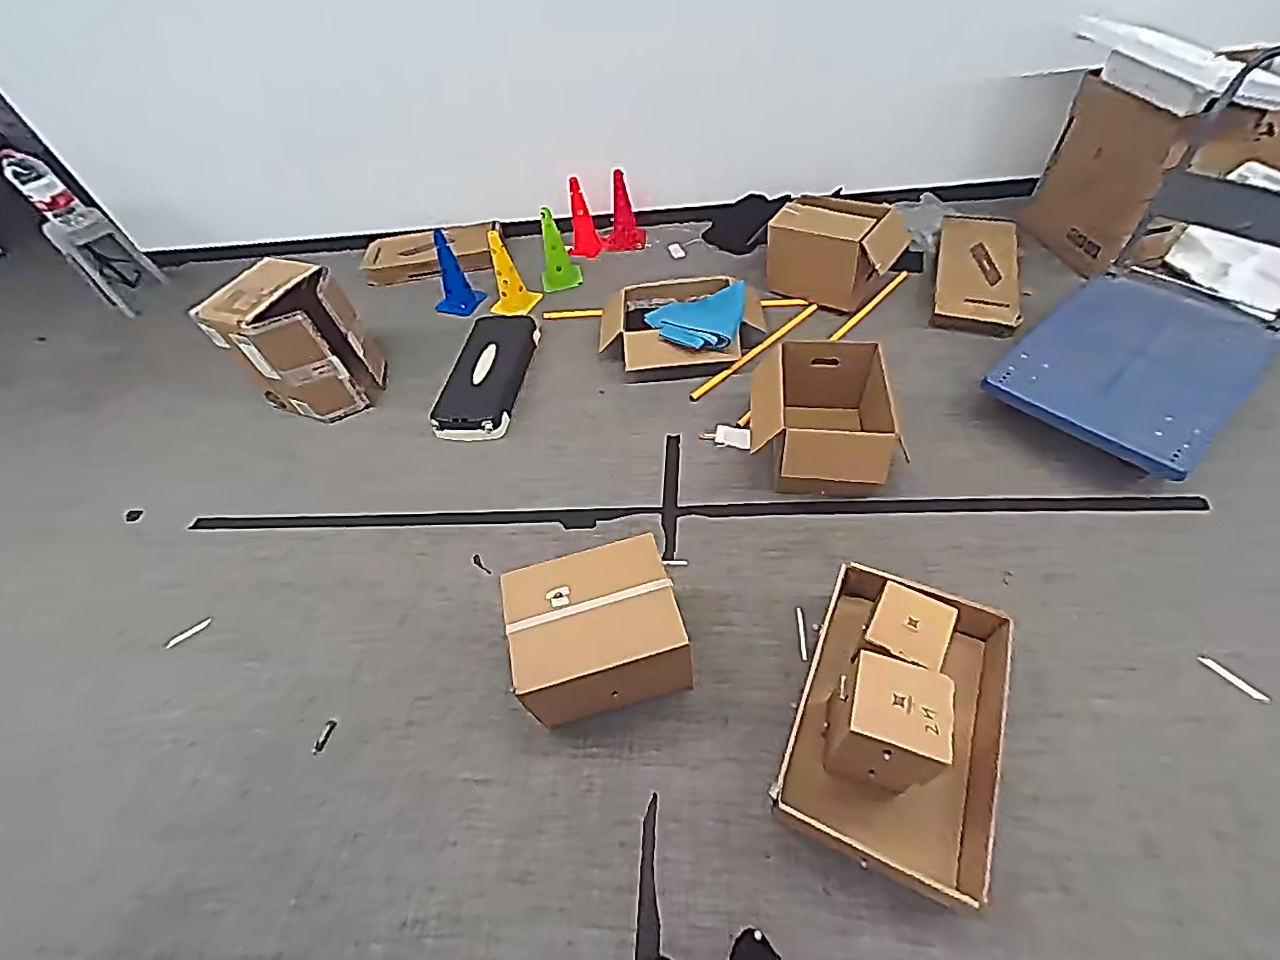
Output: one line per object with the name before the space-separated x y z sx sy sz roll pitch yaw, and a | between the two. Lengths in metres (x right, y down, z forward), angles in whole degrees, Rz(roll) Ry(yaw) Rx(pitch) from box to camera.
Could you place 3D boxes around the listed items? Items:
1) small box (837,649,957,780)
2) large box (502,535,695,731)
small box | 0.501 0.468 1.071 0.179 0.176 0.168 14 53 17
large box | -0.100 0.399 1.396 0.408 0.320 0.320 -17 51 -4
